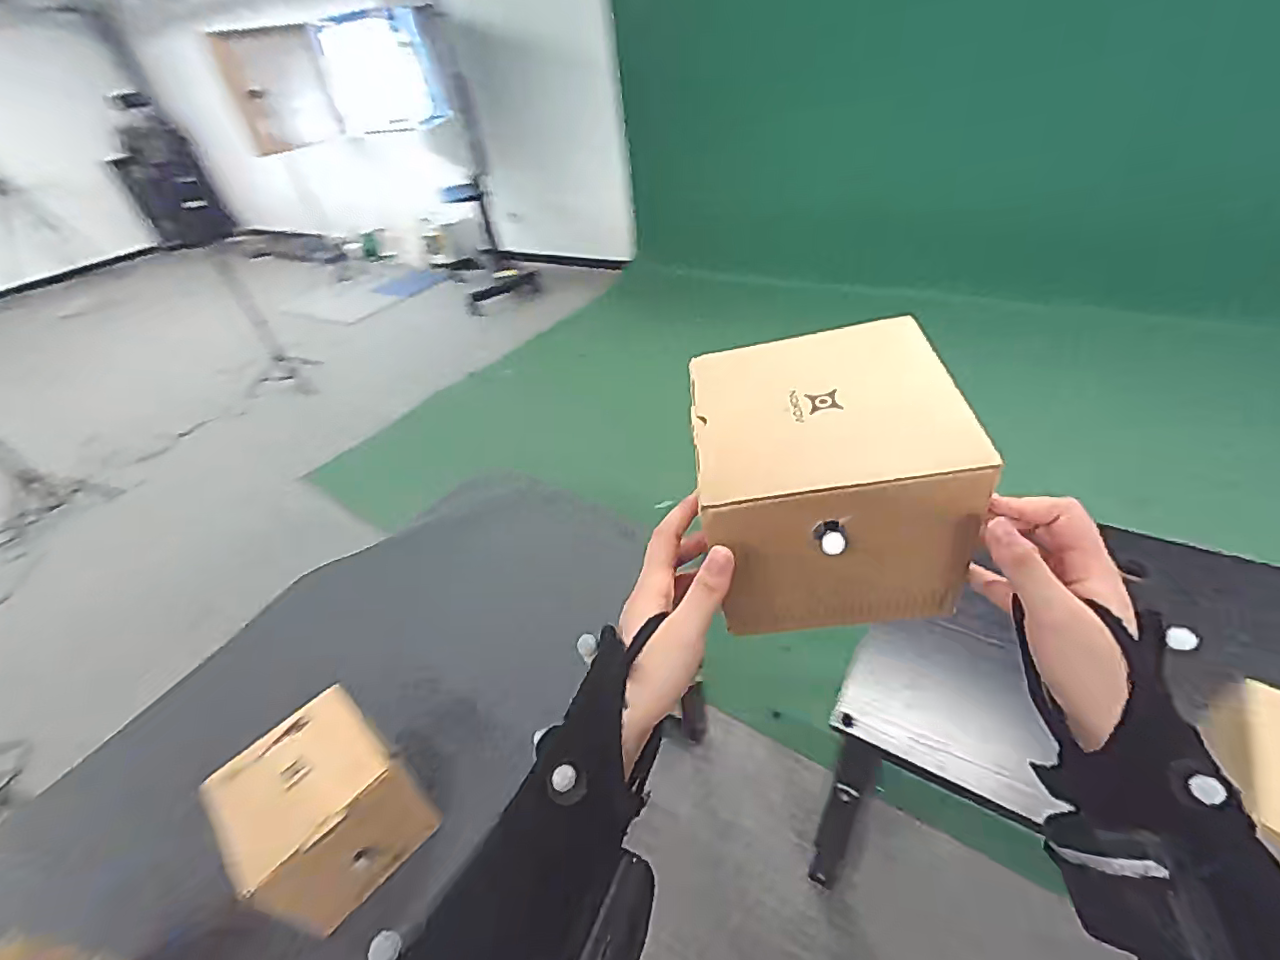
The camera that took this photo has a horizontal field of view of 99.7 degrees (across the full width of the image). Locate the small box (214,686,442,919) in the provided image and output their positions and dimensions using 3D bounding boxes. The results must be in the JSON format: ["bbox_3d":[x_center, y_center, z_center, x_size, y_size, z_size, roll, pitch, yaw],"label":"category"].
[{"bbox_3d":[-0.386,0.411,0.690,0.179,0.176,0.168,27,51,37],"label":"small box"}]

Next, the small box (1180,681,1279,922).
[{"bbox_3d":[0.698,0.352,0.548,0.168,0.176,0.179,21,48,31],"label":"small box"}]
